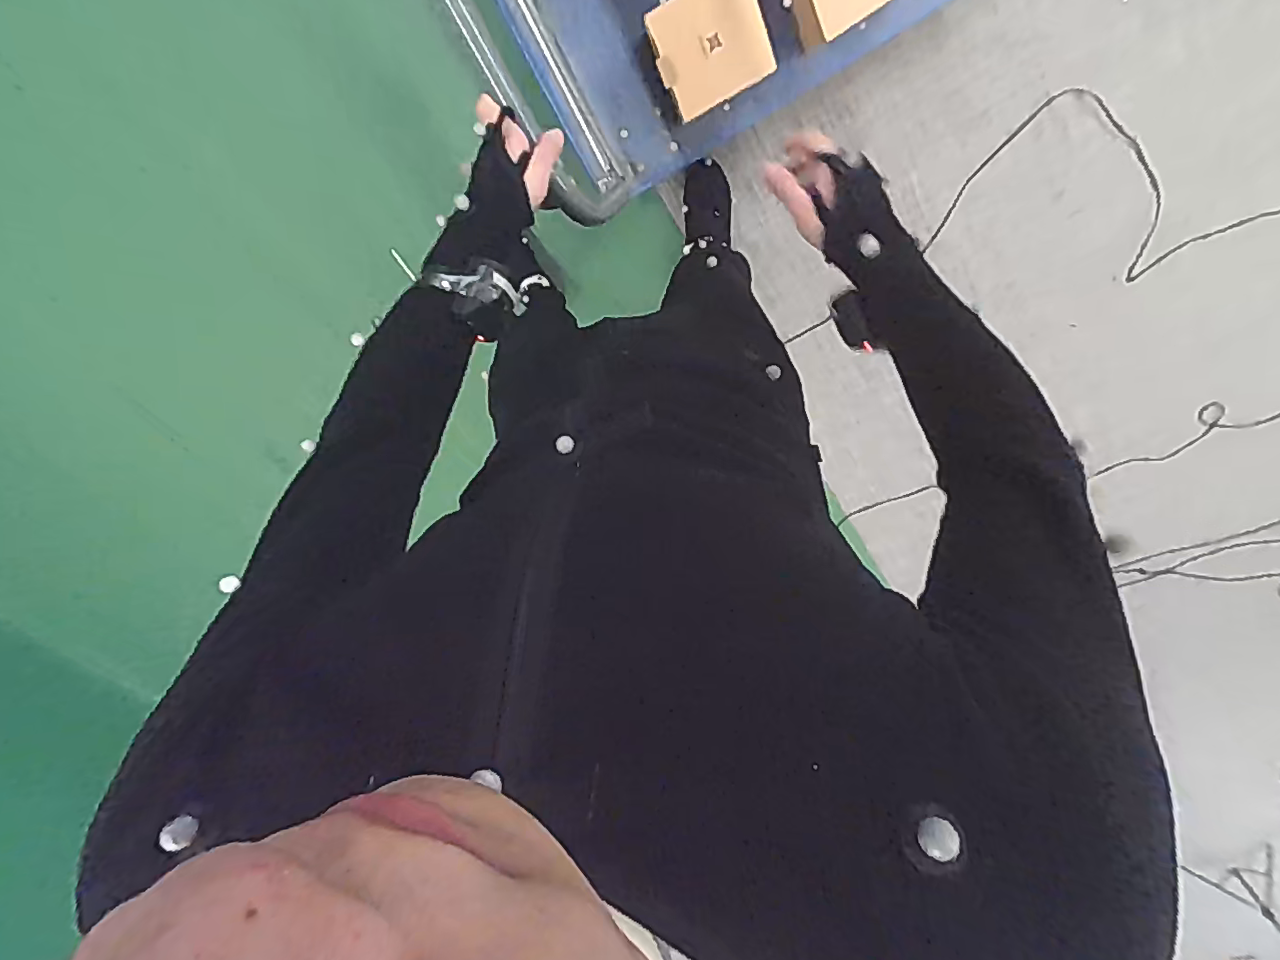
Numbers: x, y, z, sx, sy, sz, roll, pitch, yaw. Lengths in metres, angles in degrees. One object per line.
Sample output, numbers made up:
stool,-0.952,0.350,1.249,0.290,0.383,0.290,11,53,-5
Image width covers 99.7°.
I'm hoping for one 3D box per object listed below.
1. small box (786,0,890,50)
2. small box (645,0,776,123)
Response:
small box,0.342,-0.858,0.894,0.179,0.176,0.168,-25,118,18
small box,0.121,-0.770,0.963,0.179,0.176,0.168,-21,120,17
